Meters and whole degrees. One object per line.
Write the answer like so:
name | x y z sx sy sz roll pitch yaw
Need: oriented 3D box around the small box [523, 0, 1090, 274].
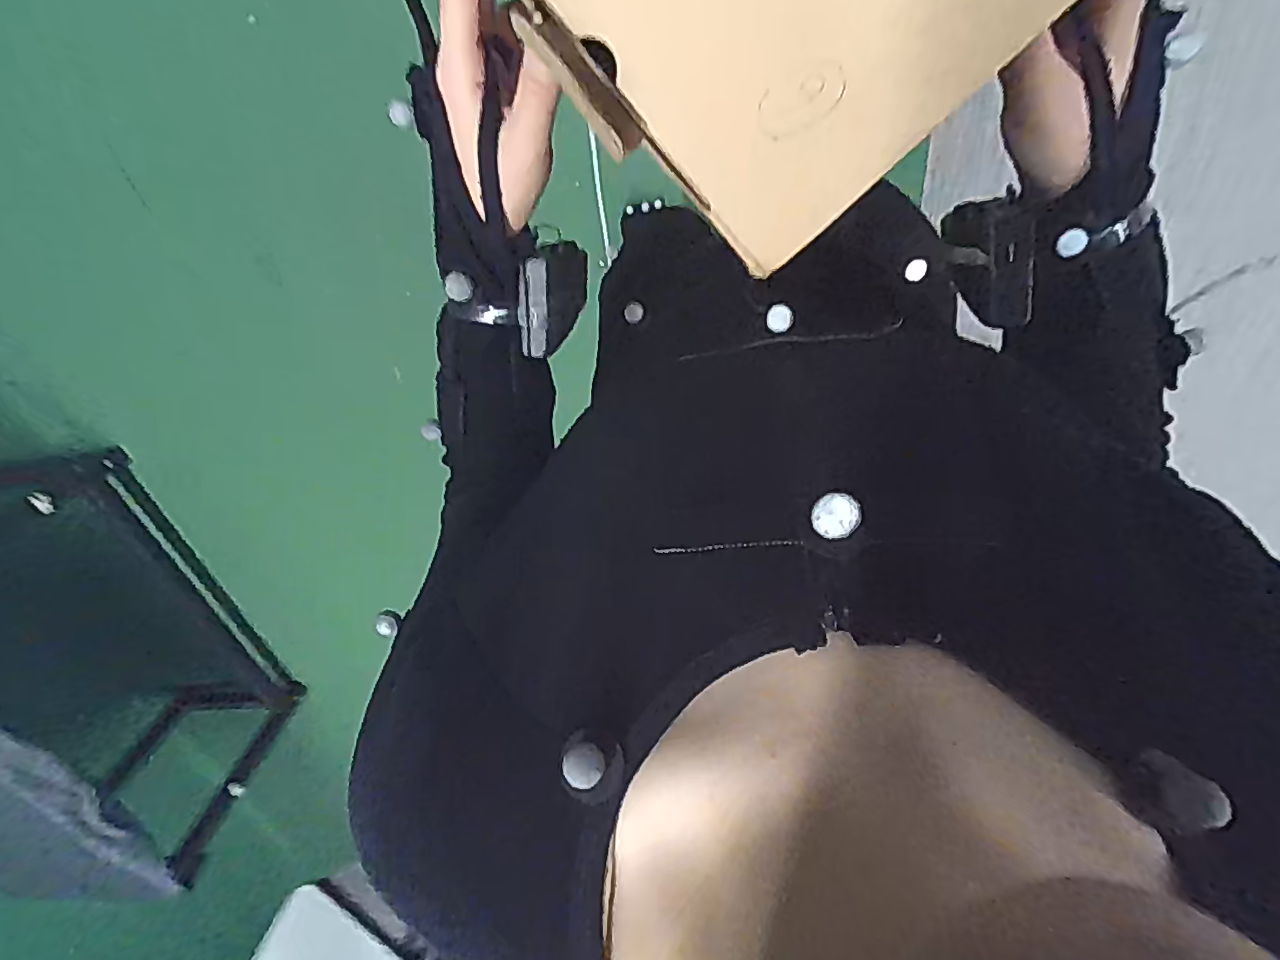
small box | 0.056 -0.214 0.199 0.179 0.176 0.168 -38 114 25
